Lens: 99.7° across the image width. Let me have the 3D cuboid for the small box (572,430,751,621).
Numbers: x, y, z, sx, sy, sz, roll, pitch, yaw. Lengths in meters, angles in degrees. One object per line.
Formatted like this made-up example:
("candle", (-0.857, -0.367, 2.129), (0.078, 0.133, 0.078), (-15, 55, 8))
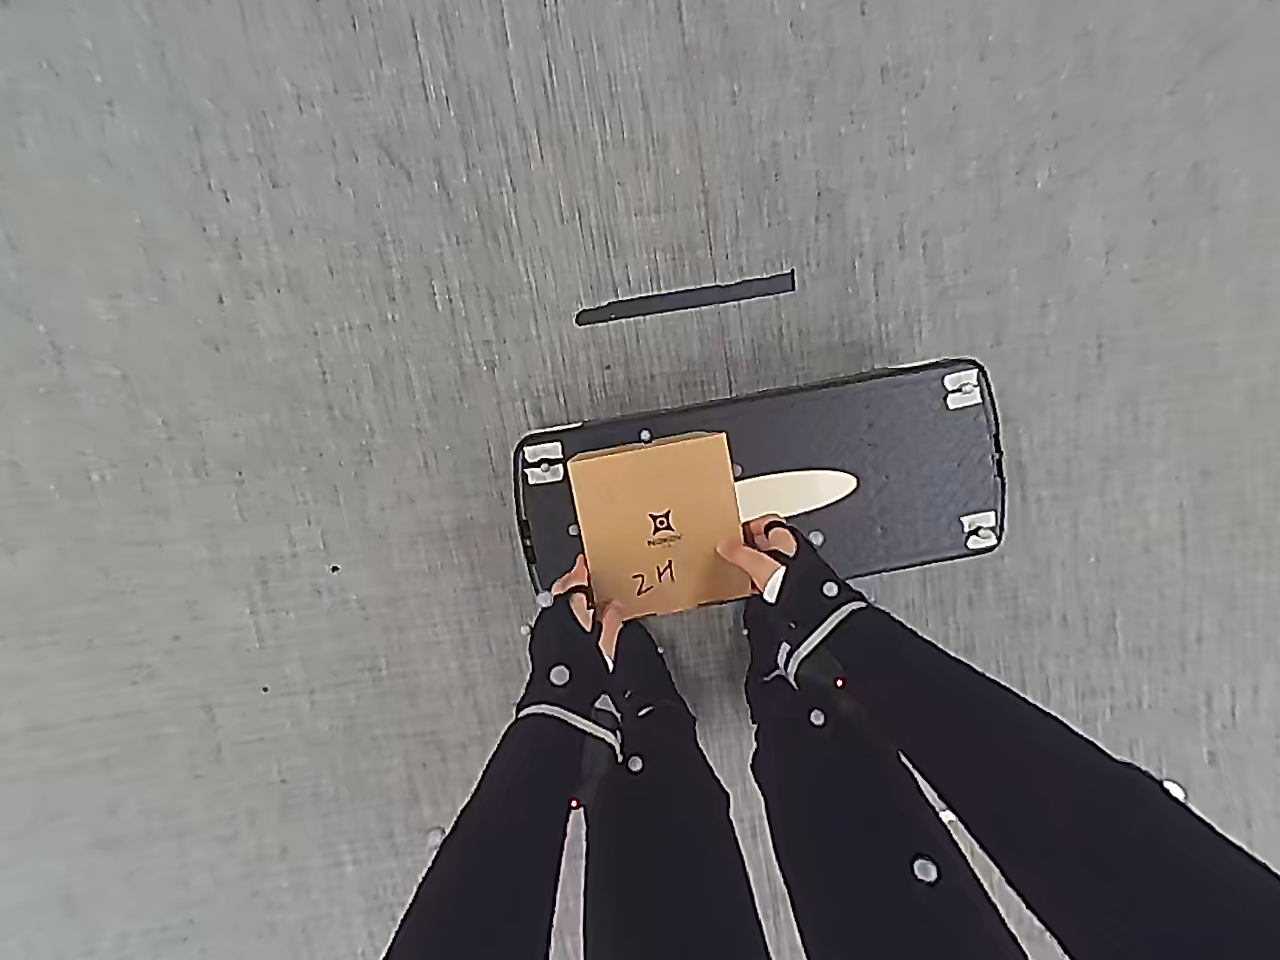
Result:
("small box", (0.018, 0.041, 0.634), (0.168, 0.176, 0.179), (-11, 96, -2))
